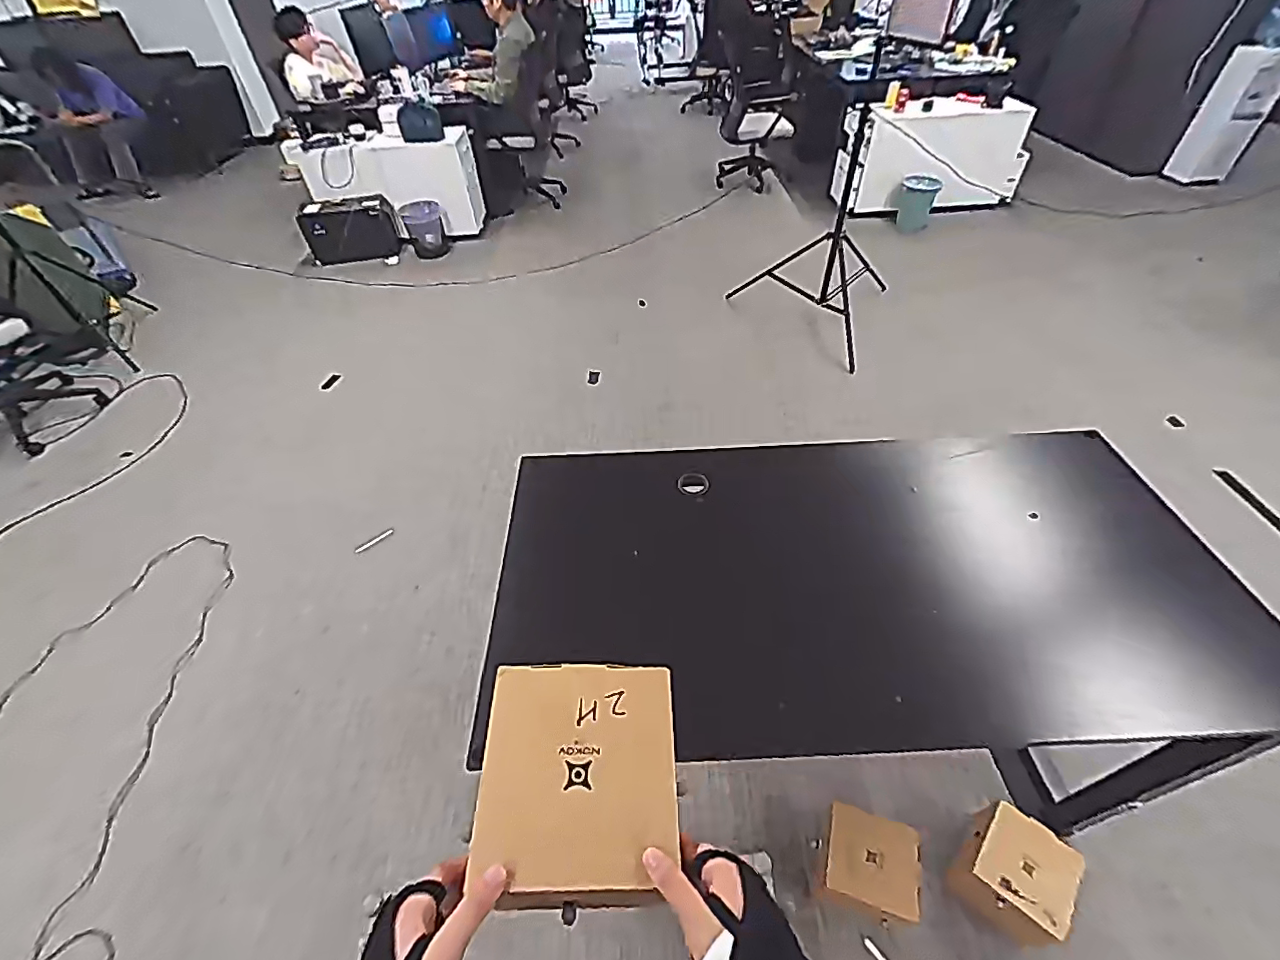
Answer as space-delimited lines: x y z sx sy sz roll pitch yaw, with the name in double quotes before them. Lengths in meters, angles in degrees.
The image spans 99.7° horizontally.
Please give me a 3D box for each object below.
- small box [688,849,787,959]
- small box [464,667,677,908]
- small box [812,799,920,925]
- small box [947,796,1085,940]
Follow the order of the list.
"small box" 0.191 0.886 1.115 0.168 0.176 0.179 -4 47 0
"small box" -0.057 0.298 0.521 0.168 0.176 0.179 1 47 -4
"small box" 0.481 0.822 1.161 0.179 0.176 0.168 11 47 15
"small box" 0.784 0.819 1.142 0.168 0.176 0.179 31 55 29
